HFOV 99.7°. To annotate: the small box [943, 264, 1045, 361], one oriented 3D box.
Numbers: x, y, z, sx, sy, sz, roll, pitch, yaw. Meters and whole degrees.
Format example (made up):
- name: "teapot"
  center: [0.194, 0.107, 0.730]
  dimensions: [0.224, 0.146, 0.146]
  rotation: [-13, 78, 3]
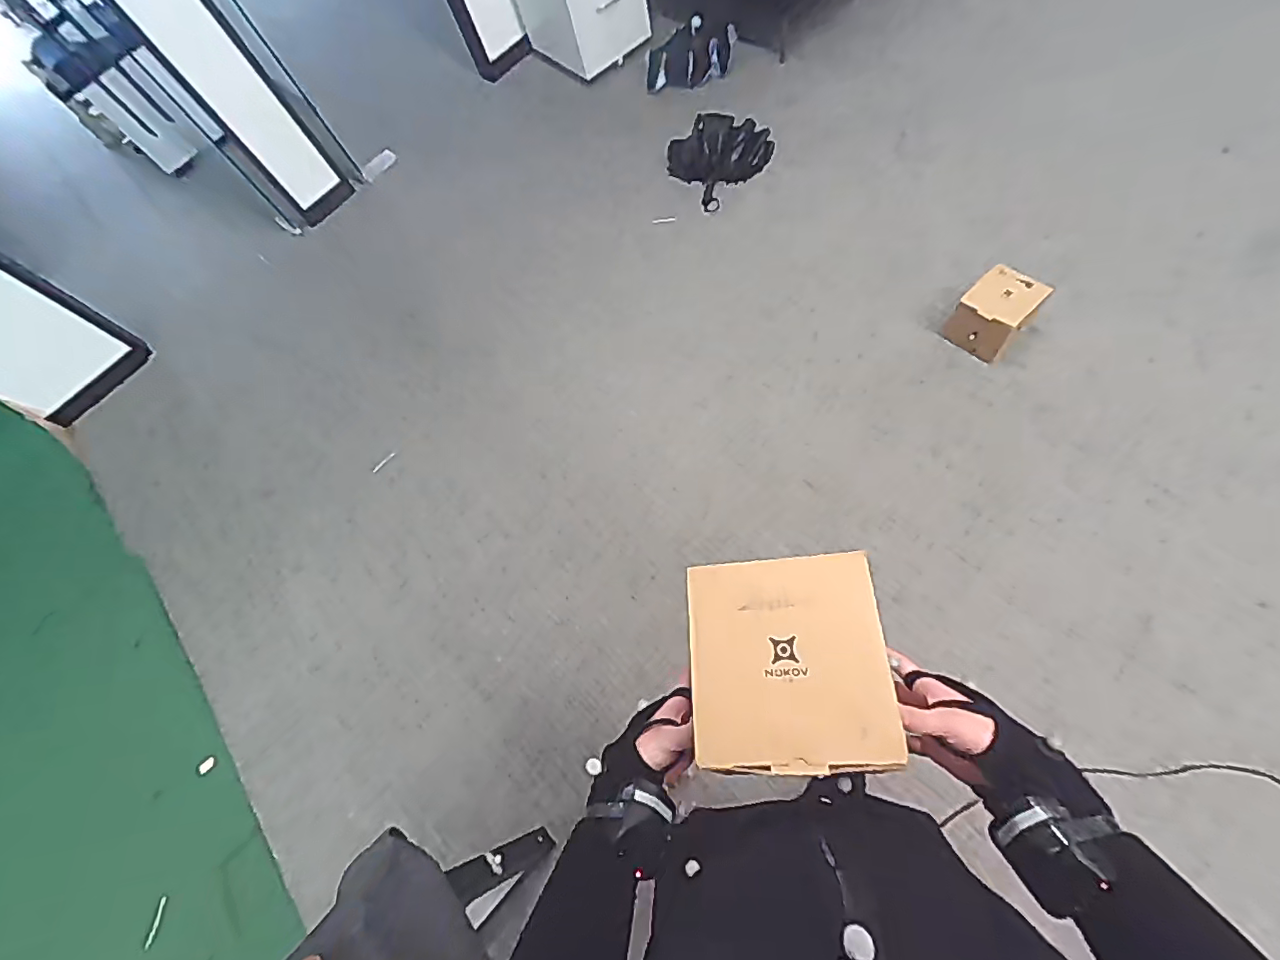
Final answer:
- name: "small box"
  center: [1.027, -0.487, 1.592]
  dimensions: [0.179, 0.176, 0.168]
  rotation: [-43, 64, -7]
